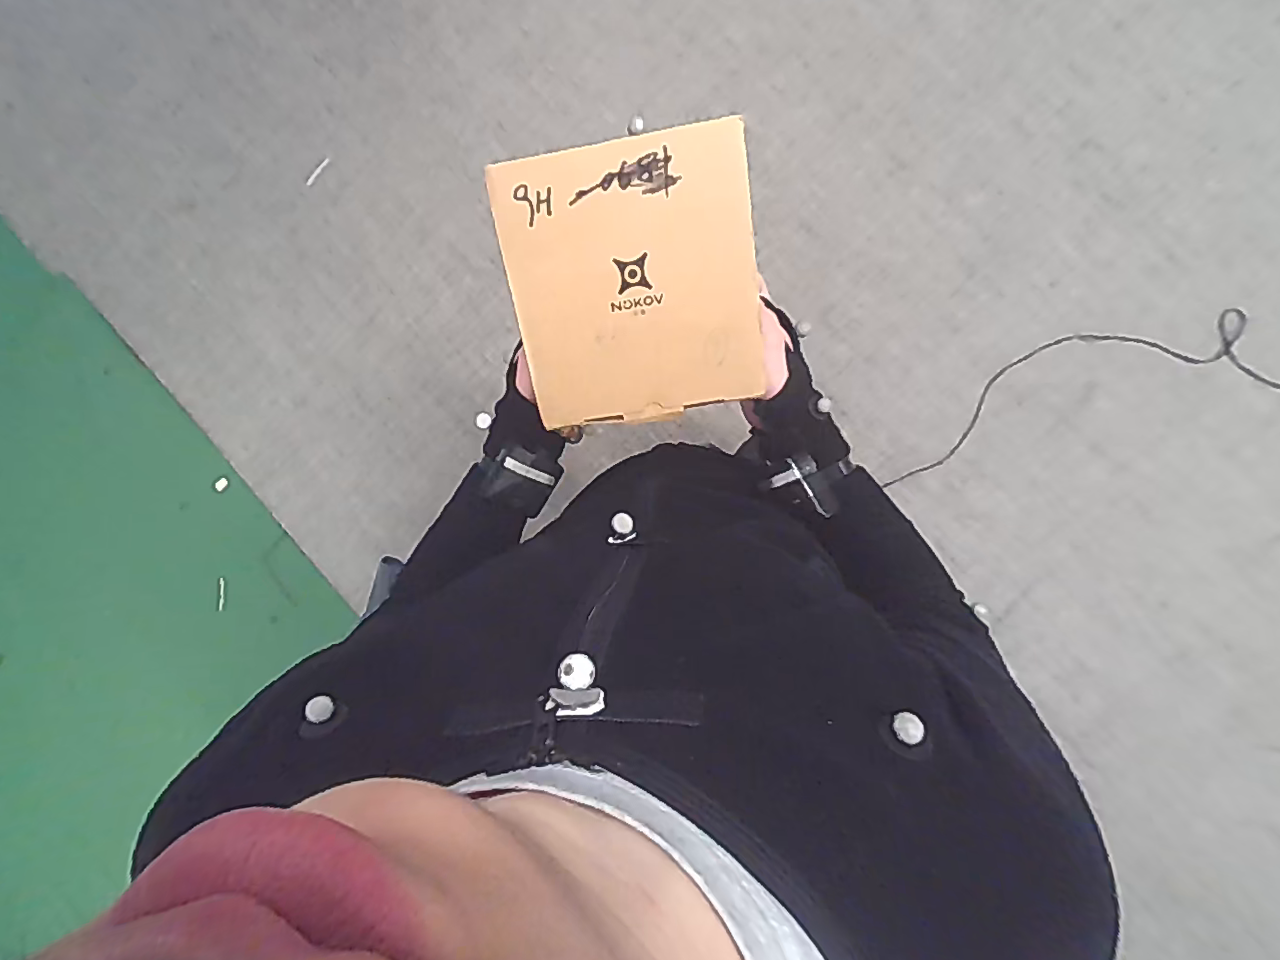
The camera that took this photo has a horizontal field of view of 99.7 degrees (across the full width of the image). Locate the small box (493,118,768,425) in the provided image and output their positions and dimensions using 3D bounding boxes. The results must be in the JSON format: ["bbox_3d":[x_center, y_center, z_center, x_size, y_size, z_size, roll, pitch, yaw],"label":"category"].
[{"bbox_3d":[0.003,-0.159,0.437,0.168,0.176,0.179,-8,111,5],"label":"small box"}]
